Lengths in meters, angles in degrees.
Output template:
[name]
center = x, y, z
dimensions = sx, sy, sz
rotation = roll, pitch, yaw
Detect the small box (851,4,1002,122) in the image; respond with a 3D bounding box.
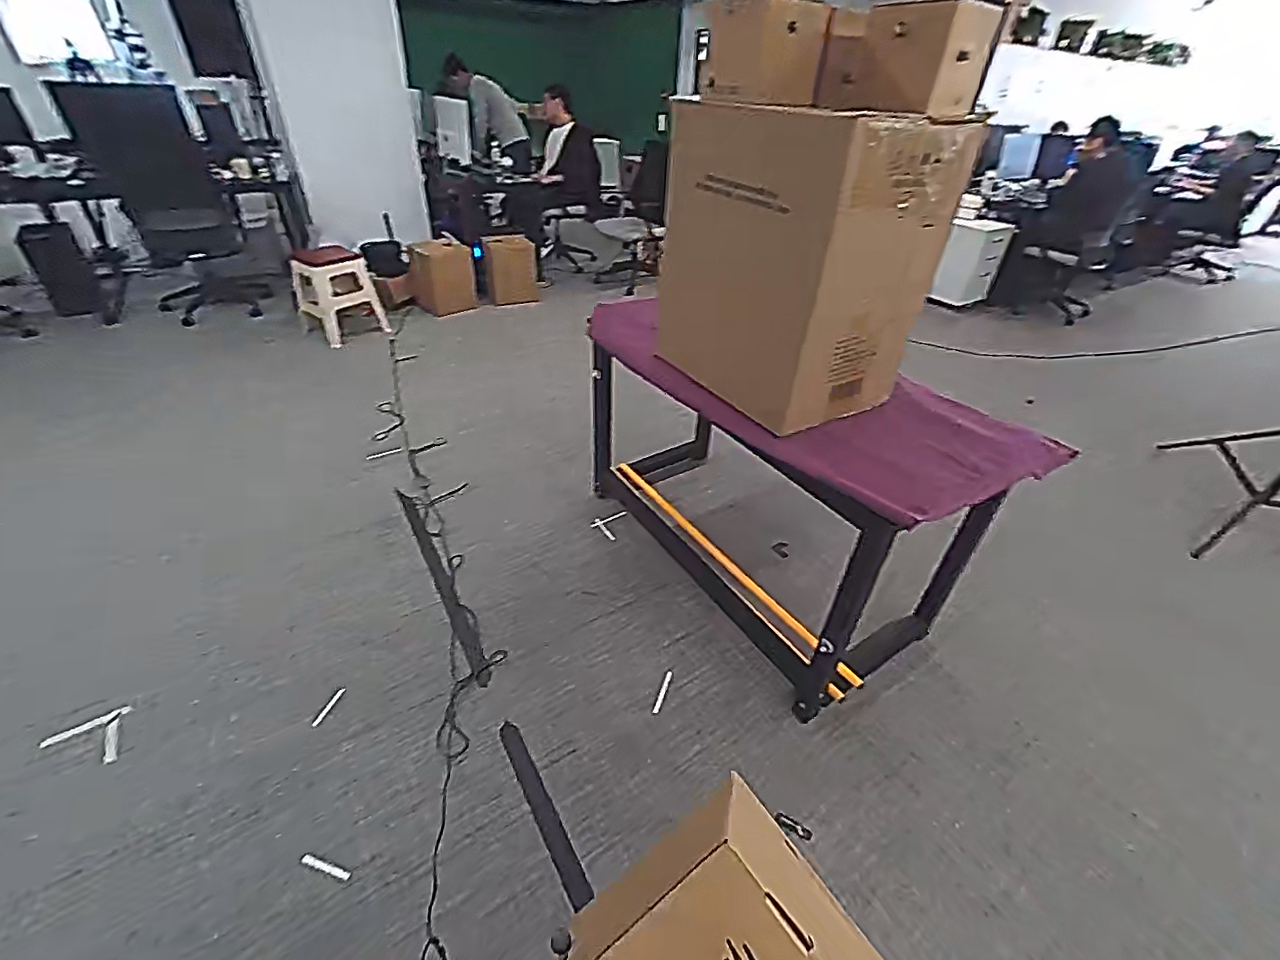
[small box]
center = 0.544, -0.797, 1.046
dimensions = 0.168, 0.176, 0.179
rotation = -23, 42, -31
